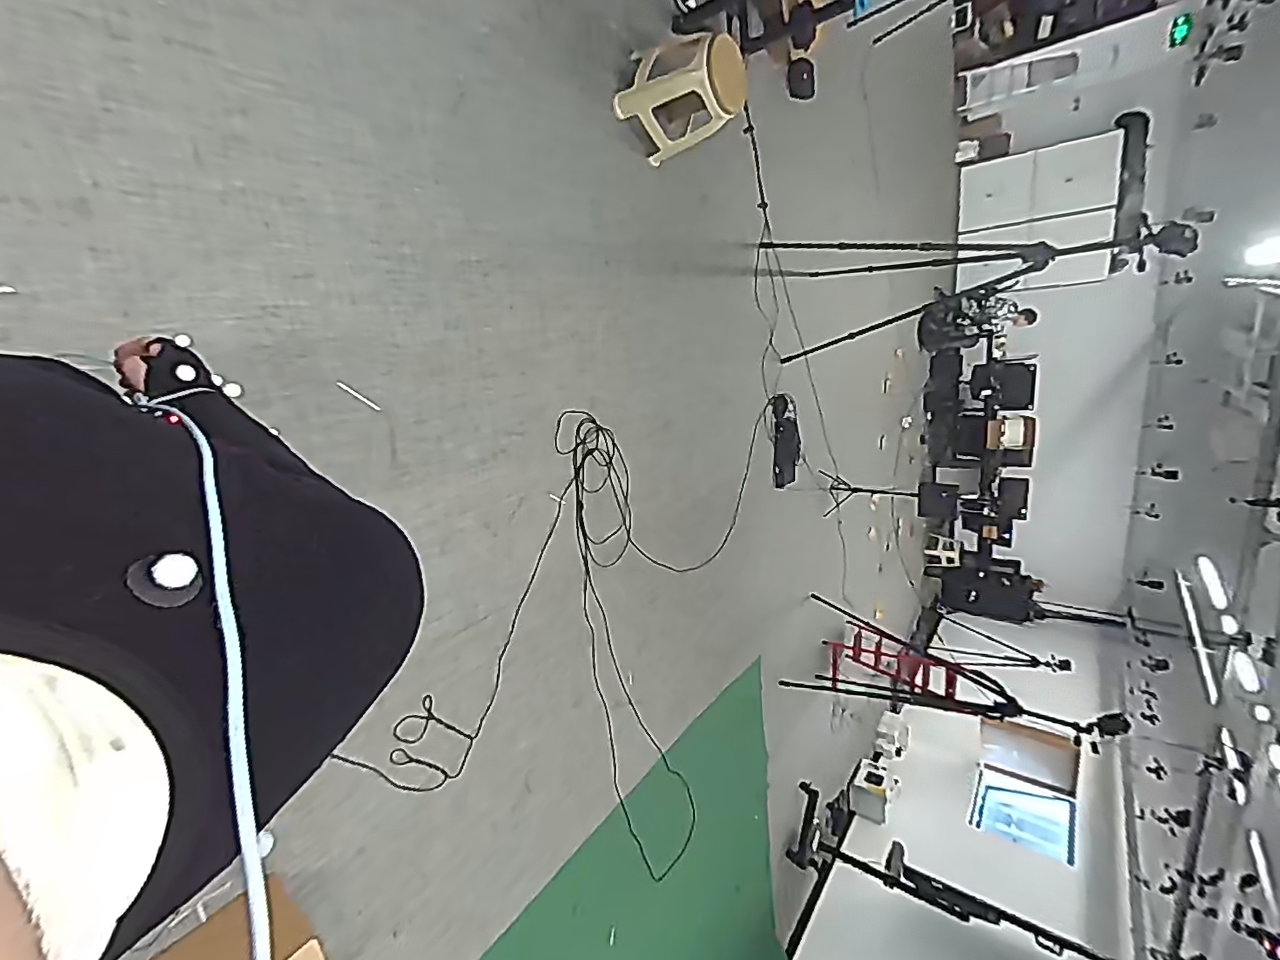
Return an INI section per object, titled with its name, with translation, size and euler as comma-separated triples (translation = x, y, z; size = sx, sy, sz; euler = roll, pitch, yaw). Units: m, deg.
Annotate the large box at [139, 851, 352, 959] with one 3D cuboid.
[large box]
translation = -1.004, 1.282, 1.372
size = 0.408, 0.320, 0.320
euler = -25, 113, -46
